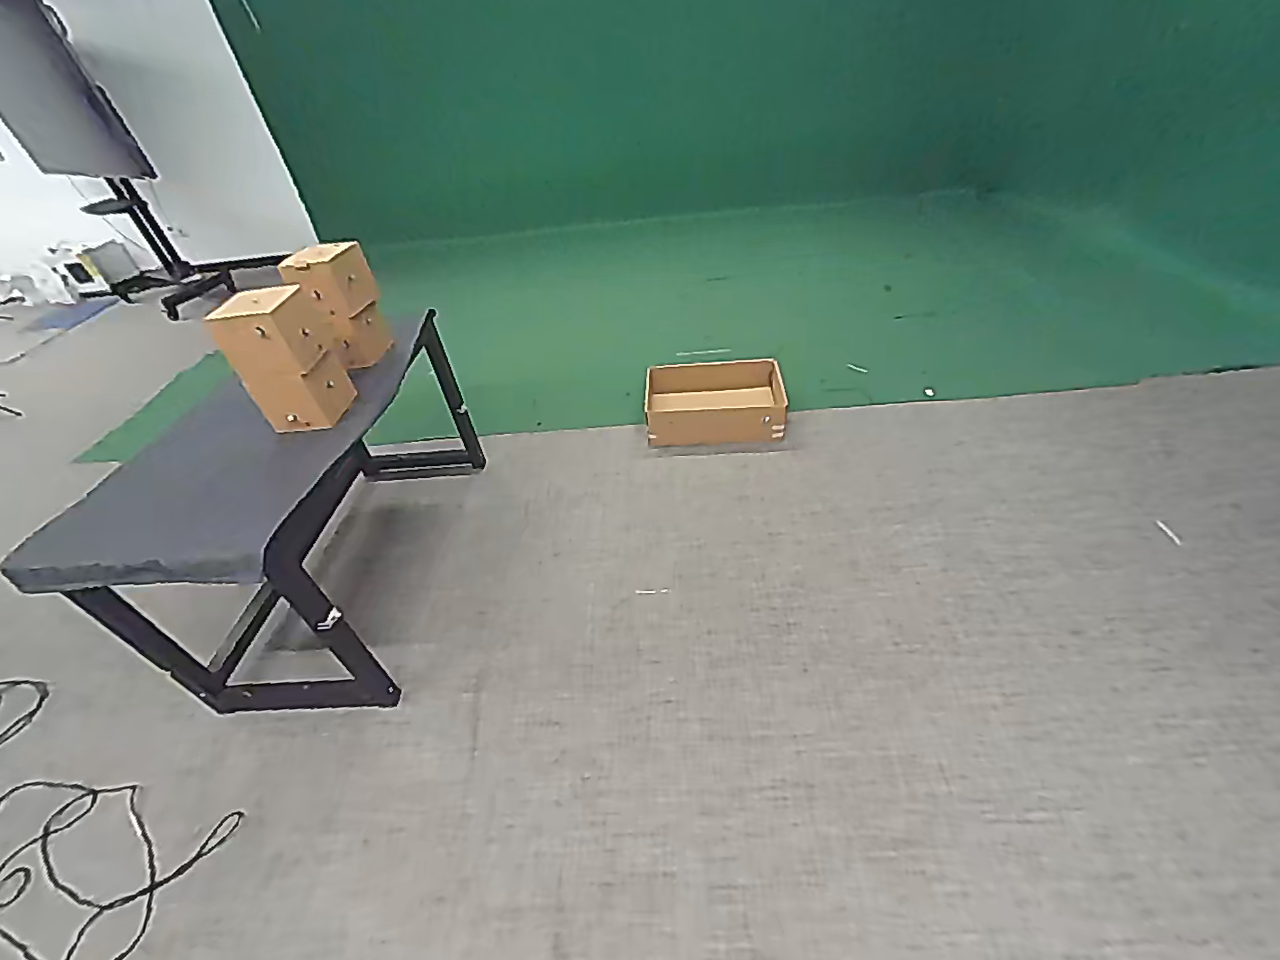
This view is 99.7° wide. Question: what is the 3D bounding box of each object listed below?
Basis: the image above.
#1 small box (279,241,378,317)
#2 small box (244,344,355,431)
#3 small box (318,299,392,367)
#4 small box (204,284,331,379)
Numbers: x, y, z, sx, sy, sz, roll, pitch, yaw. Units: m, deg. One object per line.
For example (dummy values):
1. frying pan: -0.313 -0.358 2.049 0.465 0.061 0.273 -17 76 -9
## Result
1. small box: -0.932 -0.606 1.642 0.168 0.176 0.179 0 42 9
2. small box: -0.919 -0.253 1.484 0.168 0.176 0.179 -4 42 6
3. small box: -0.932 -0.474 1.741 0.168 0.176 0.179 -1 40 7
4. small box: -0.930 -0.375 1.373 0.179 0.176 0.168 -5 41 5
